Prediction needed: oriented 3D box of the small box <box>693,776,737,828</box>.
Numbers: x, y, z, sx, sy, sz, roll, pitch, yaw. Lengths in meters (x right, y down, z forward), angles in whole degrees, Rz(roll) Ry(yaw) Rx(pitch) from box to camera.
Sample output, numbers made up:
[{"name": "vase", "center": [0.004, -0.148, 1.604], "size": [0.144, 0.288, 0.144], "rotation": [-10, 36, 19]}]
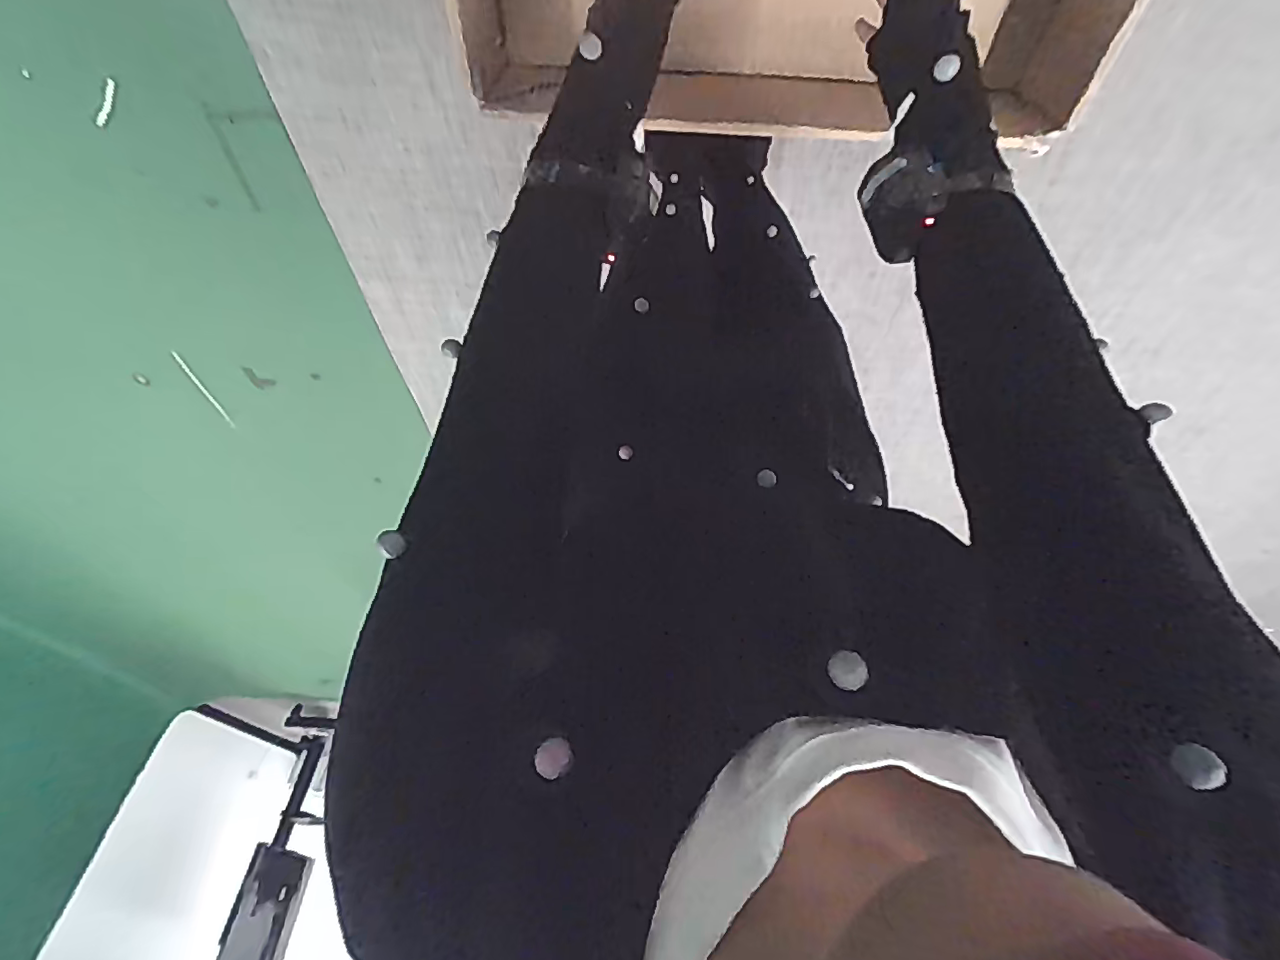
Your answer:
[{"name": "small box", "center": [0.316, 1.372, 2.302], "size": [0.179, 0.176, 0.168], "rotation": [0, 141, 7]}]
